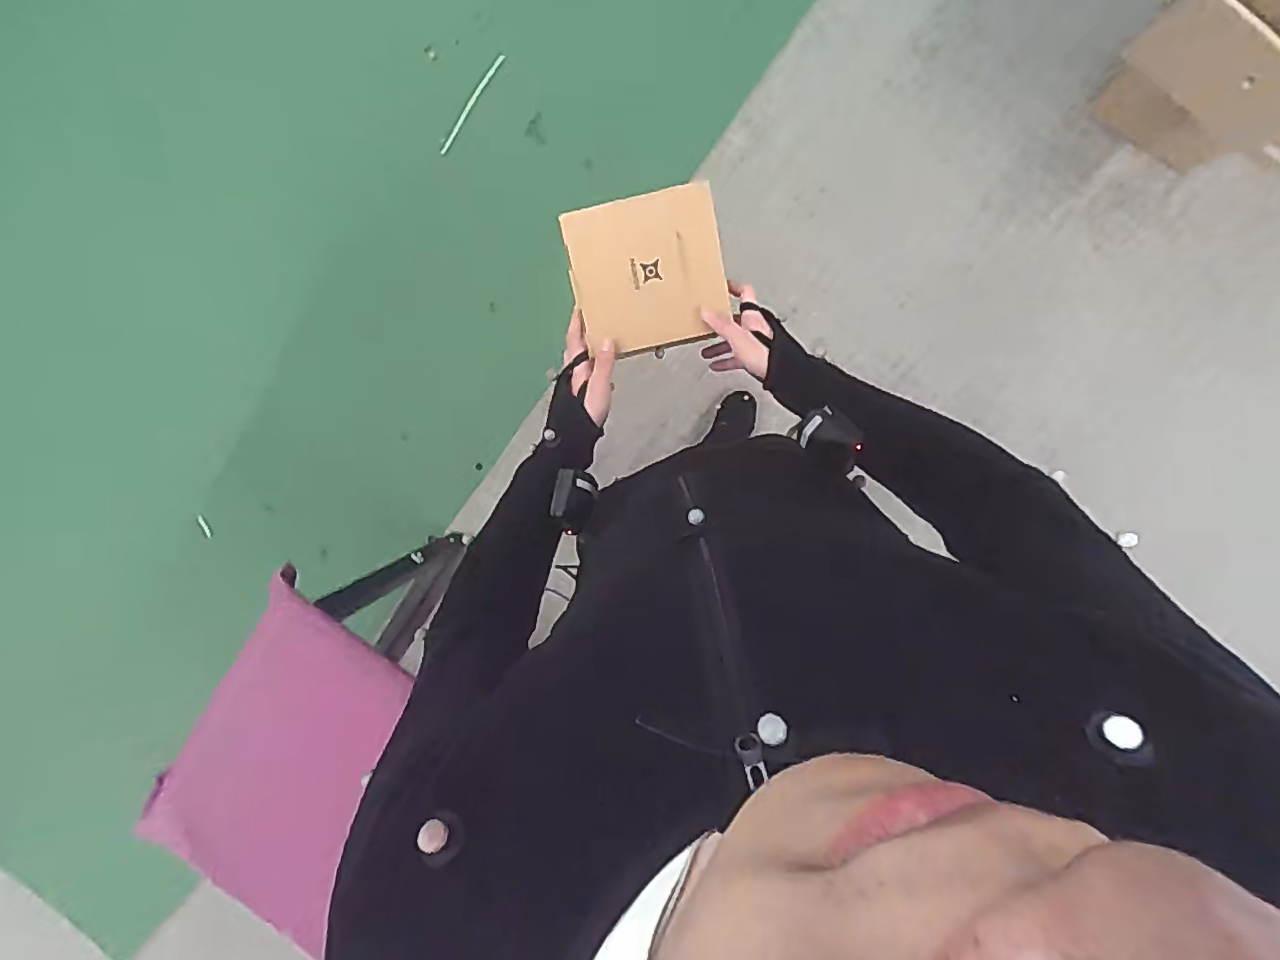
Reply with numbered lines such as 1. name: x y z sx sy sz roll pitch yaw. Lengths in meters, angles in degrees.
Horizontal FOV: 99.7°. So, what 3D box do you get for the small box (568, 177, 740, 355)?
1. small box: 0.020 -0.256 0.691 0.179 0.176 0.168 -10 102 3
